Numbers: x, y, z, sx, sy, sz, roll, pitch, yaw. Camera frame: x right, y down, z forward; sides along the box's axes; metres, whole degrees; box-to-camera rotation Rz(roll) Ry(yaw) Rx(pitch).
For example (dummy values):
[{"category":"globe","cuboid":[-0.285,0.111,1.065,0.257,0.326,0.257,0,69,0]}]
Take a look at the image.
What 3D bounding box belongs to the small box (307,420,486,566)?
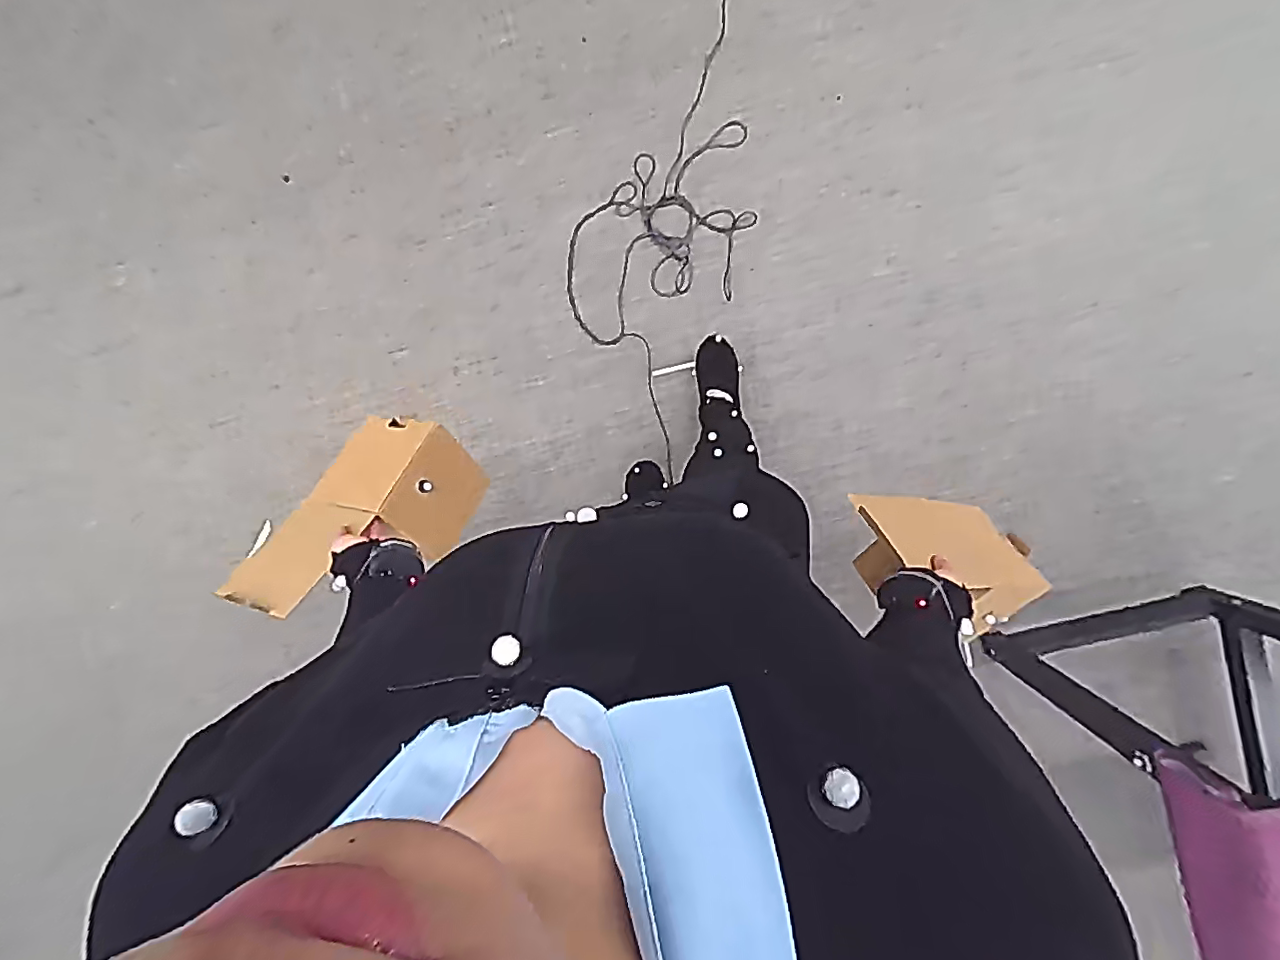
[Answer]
[{"category":"small box","cuboid":[-0.386,0.022,0.892,0.168,0.176,0.179,6,57,26]}]
